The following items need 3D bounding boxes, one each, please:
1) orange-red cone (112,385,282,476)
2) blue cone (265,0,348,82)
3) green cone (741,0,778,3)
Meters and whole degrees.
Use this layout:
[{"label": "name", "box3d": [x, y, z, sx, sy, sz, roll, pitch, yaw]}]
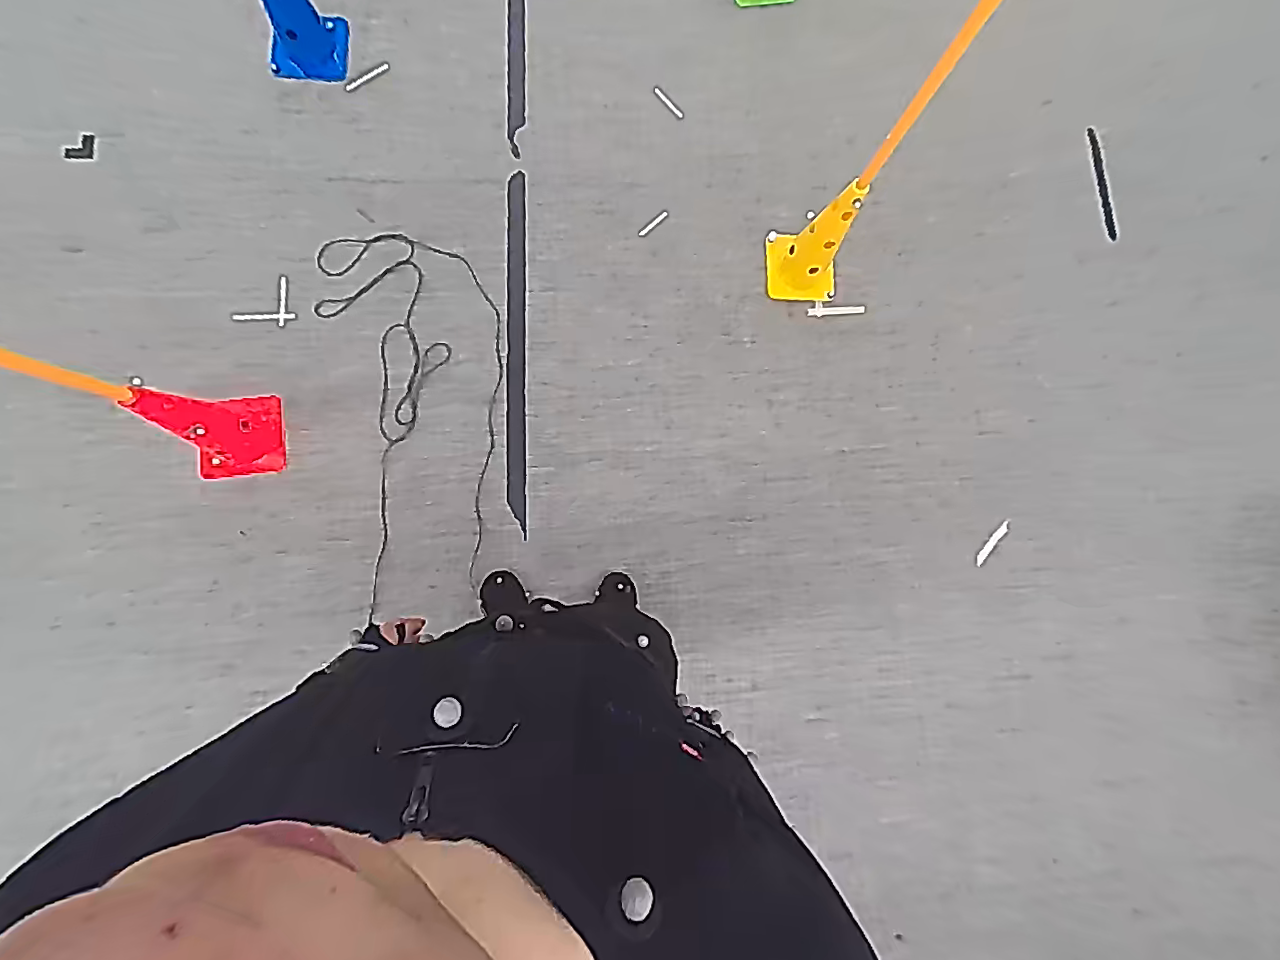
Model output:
[{"label": "orange-red cone", "box3d": [-0.973, -0.135, 1.171, 0.199, 0.360, 0.198, -6, 83, -8]}, {"label": "blue cone", "box3d": [-0.903, -1.229, 1.351, 0.193, 0.380, 0.192, 1, 82, -5]}, {"label": "green cone", "box3d": [0.398, -1.606, 1.520, 0.200, 0.368, 0.202, -12, 85, -7]}]
